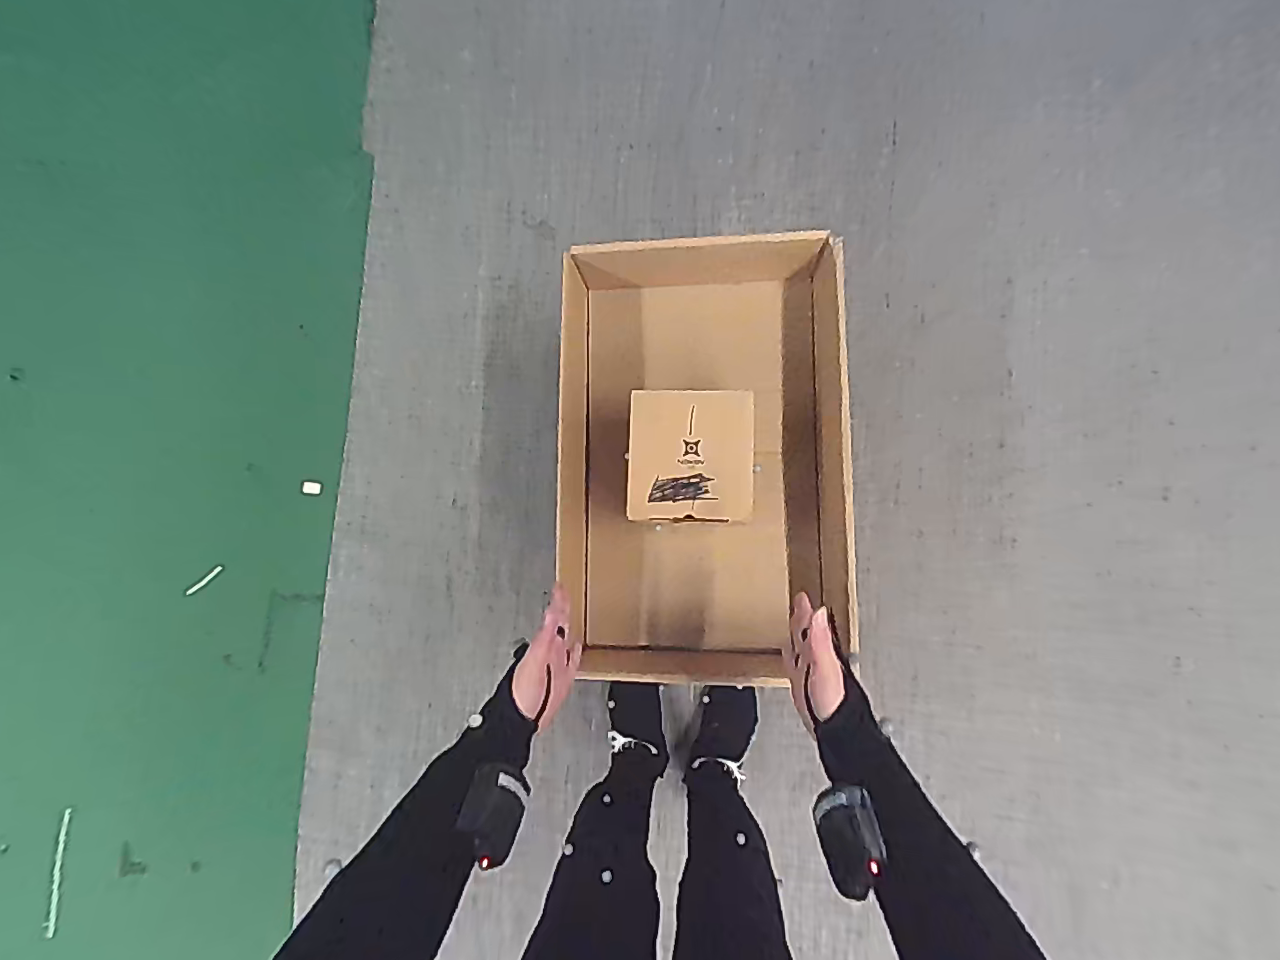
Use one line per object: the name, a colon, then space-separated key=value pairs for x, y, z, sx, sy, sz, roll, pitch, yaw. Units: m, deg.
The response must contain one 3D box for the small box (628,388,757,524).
small box: x=0.078 y=-0.026 z=0.782 sx=0.168 sy=0.176 sz=0.179 roll=1 pitch=84 yaw=6
